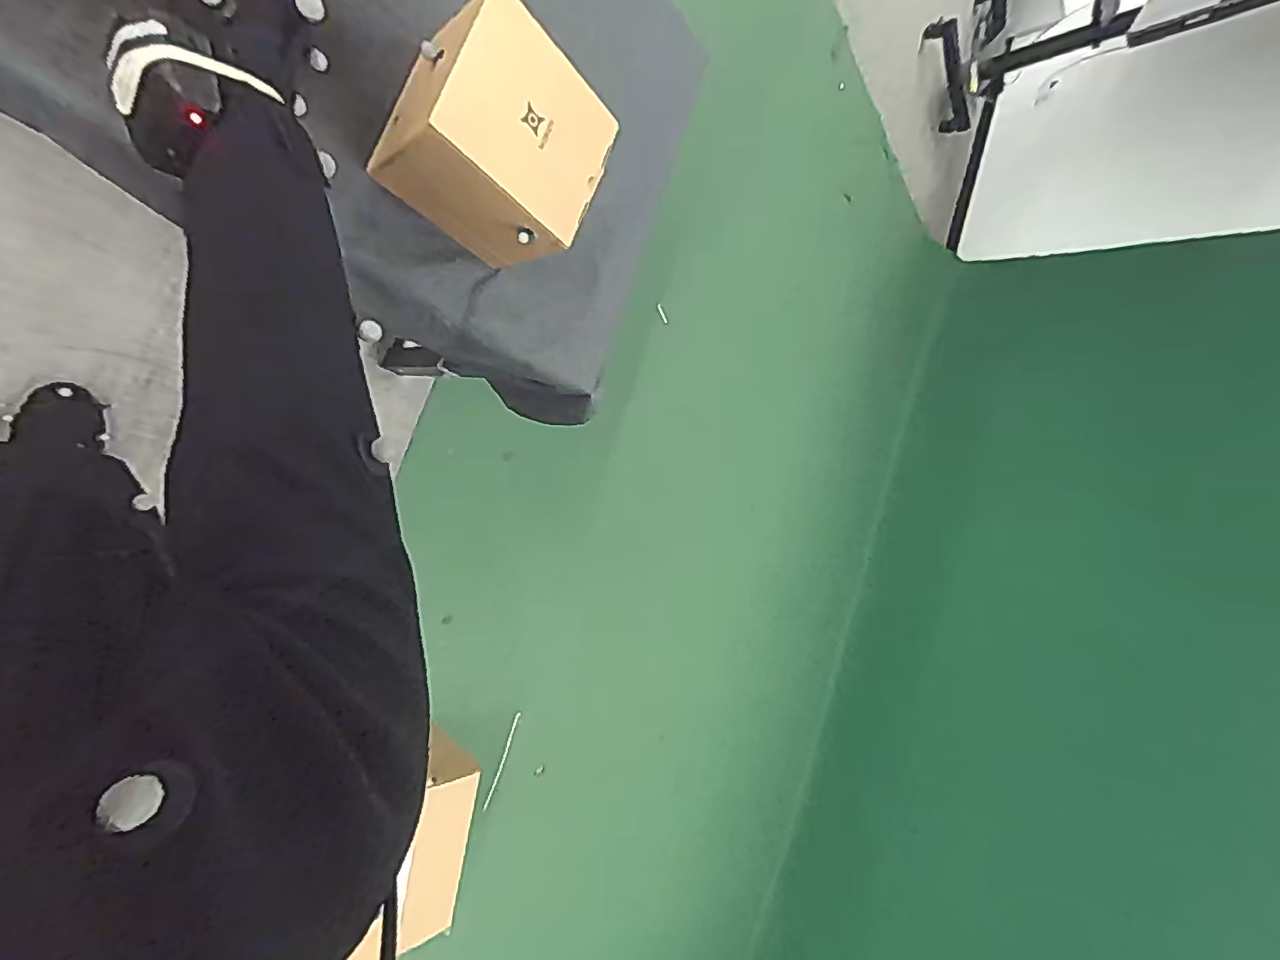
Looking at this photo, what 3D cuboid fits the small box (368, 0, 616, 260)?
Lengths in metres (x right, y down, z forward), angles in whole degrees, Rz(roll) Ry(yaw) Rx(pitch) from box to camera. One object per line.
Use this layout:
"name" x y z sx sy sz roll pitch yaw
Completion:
"small box" -0.164 -0.367 0.596 0.179 0.176 0.168 28 78 -46
